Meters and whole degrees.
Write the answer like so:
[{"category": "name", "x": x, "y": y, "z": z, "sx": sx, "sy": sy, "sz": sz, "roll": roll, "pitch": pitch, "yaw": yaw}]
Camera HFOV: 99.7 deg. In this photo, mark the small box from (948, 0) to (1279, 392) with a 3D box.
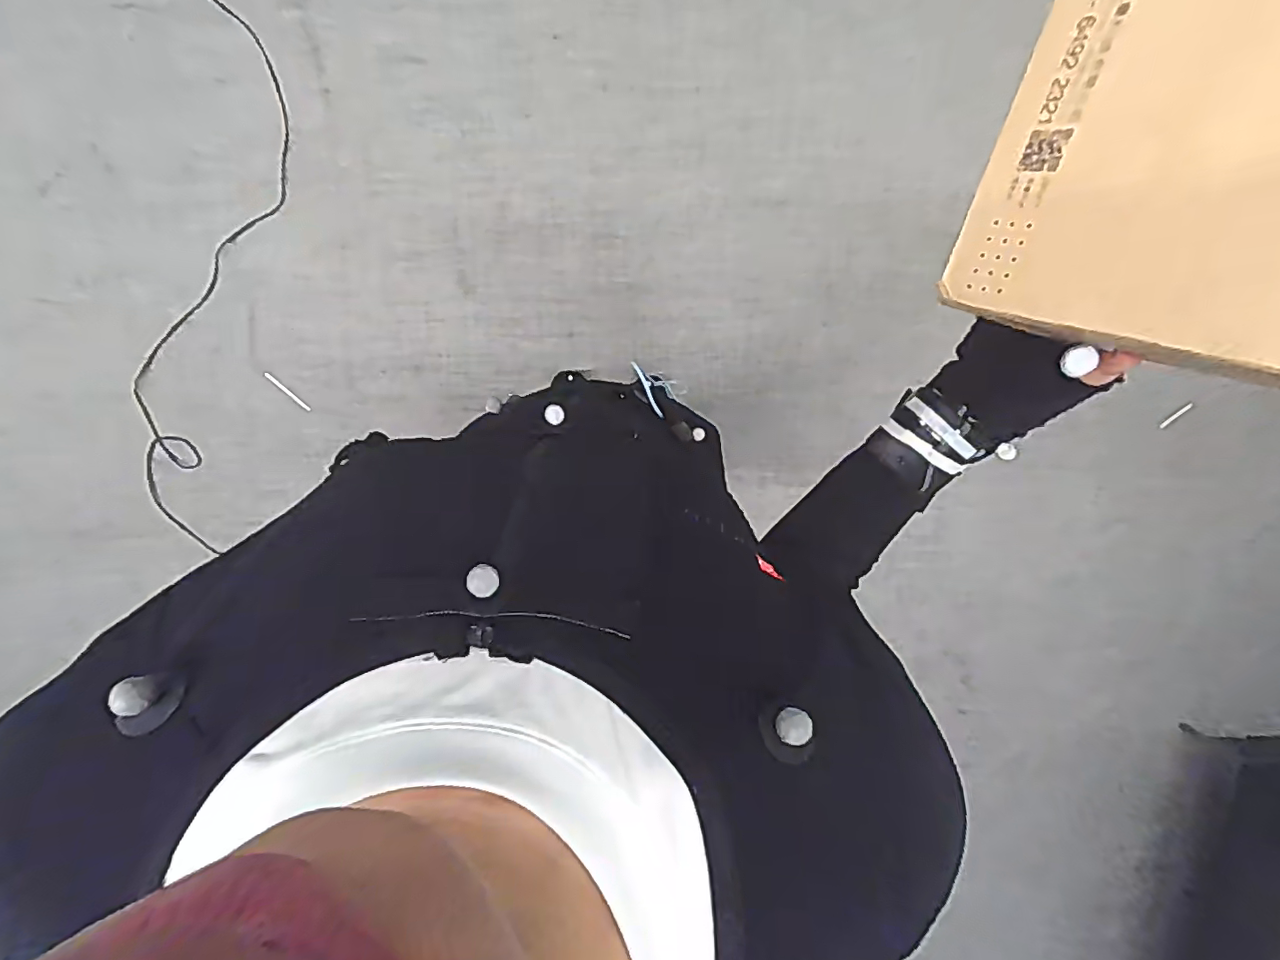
[{"category": "small box", "x": 0.264, "y": -0.125, "z": 0.209, "sx": 0.179, "sy": 0.176, "sz": 0.168, "roll": -4, "pitch": 118, "yaw": -37}]
